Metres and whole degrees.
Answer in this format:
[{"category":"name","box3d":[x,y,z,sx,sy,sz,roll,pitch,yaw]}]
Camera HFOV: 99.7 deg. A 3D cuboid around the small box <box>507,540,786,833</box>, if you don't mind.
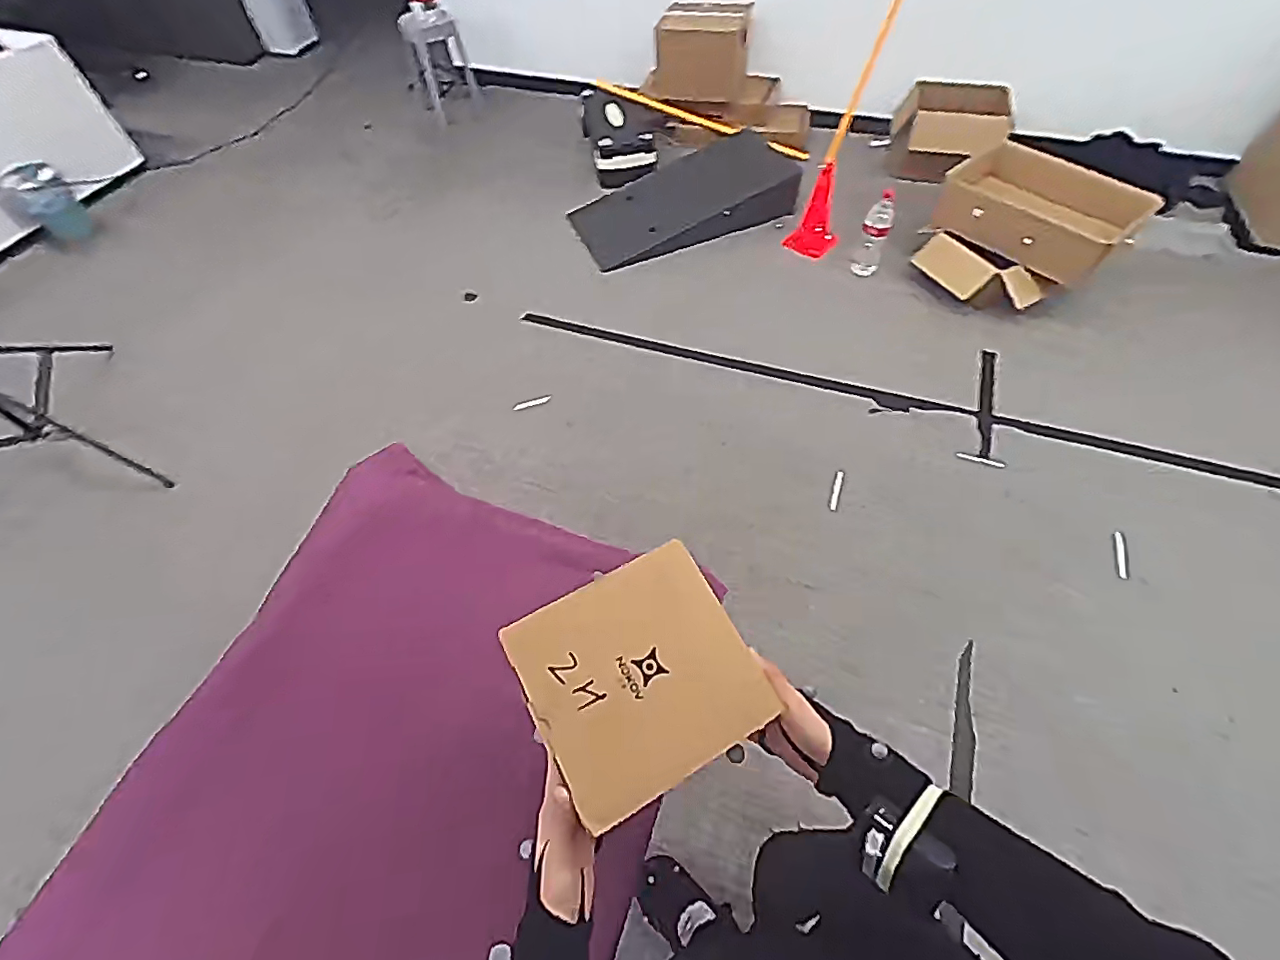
[{"category":"small box","box3d":[-0.002,0.183,0.503,0.179,0.176,0.168,-26,69,-15]}]
